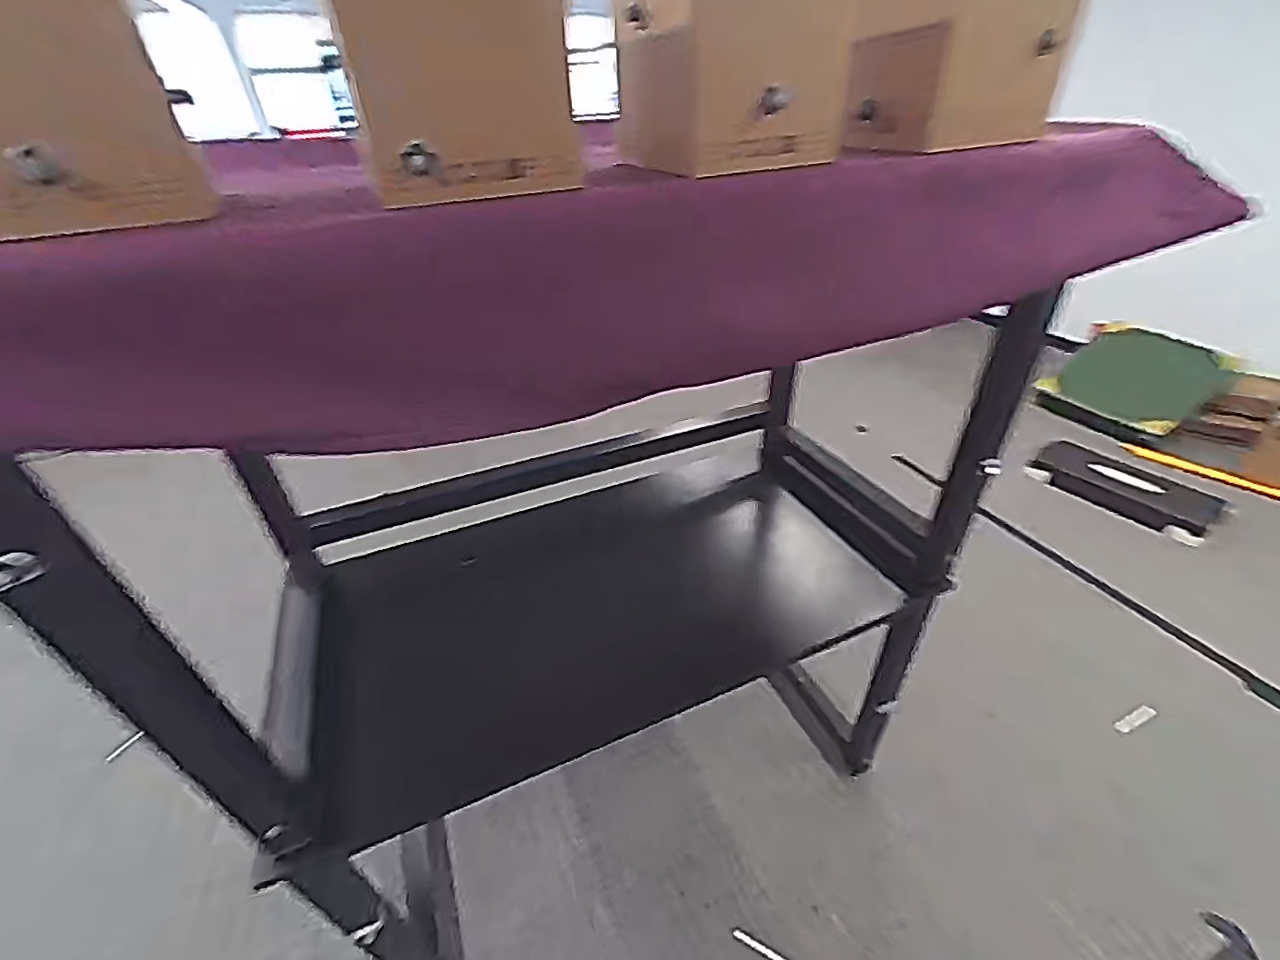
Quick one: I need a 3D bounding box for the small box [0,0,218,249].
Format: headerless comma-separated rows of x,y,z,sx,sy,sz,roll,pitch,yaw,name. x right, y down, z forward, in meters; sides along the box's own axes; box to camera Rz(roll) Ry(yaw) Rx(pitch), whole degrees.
-0.429,-0.270,0.377,0.179,0.176,0.168,-21,39,-26,small box

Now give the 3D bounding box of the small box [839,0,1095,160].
0.349,-0.465,0.600,0.179,0.176,0.168,-15,36,-15,small box

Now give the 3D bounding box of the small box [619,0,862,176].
0.085,-0.401,0.526,0.168,0.176,0.179,-17,38,-19,small box

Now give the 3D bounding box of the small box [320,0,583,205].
-0.156,-0.334,0.451,0.168,0.176,0.179,-17,37,-19,small box
